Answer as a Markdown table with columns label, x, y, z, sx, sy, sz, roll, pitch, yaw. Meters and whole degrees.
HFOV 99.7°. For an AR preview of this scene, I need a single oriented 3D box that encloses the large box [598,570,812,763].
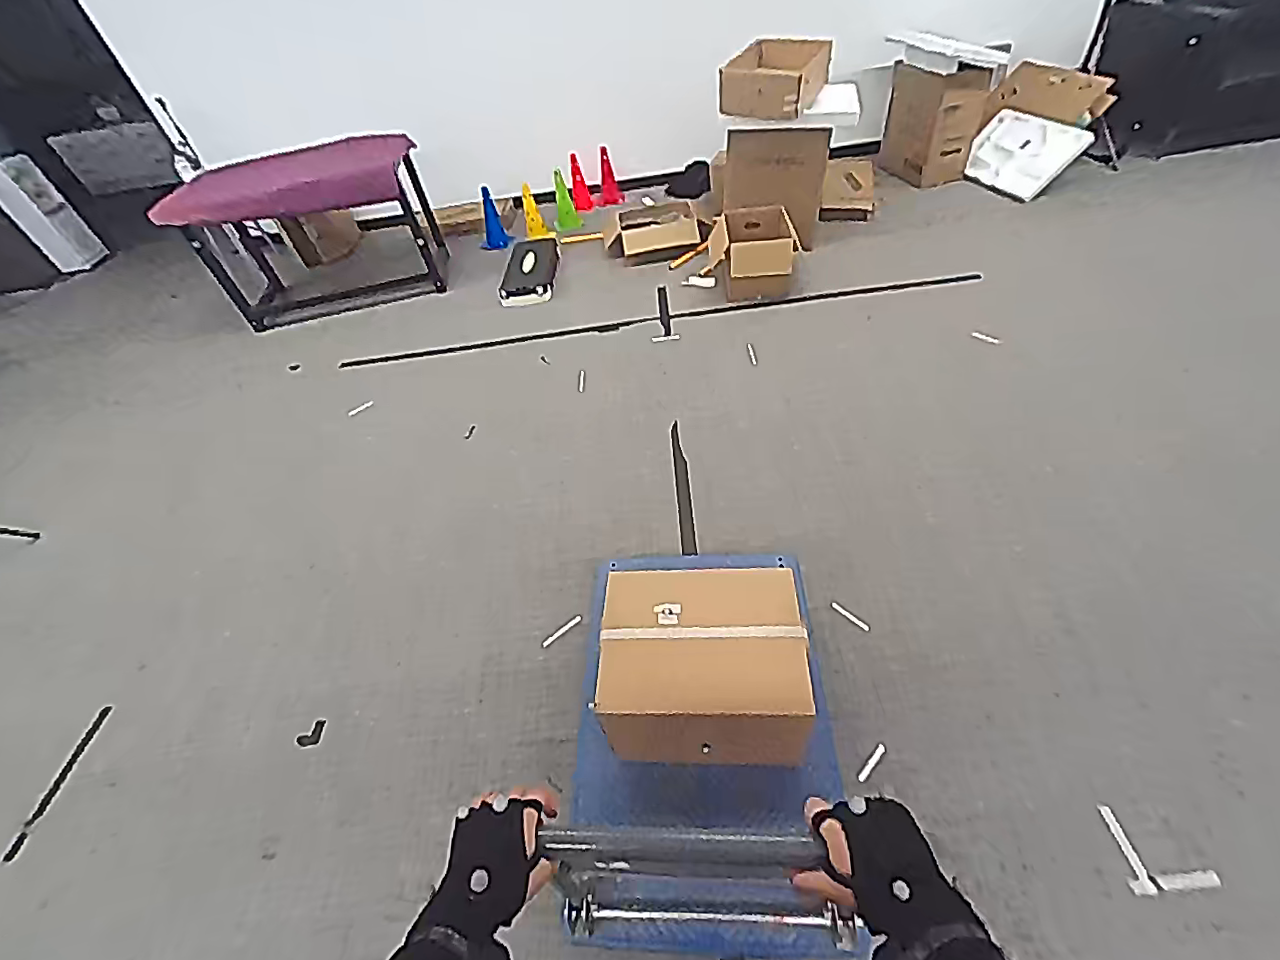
| label | x | y | z | sx | sy | sz | roll | pitch | yaw |
| --- | --- | --- | --- | --- | --- | --- | --- | --- | --- |
| large box | 0.144 | 0.424 | 1.208 | 0.408 | 0.320 | 0.320 | -4 | 45 | 8 |
